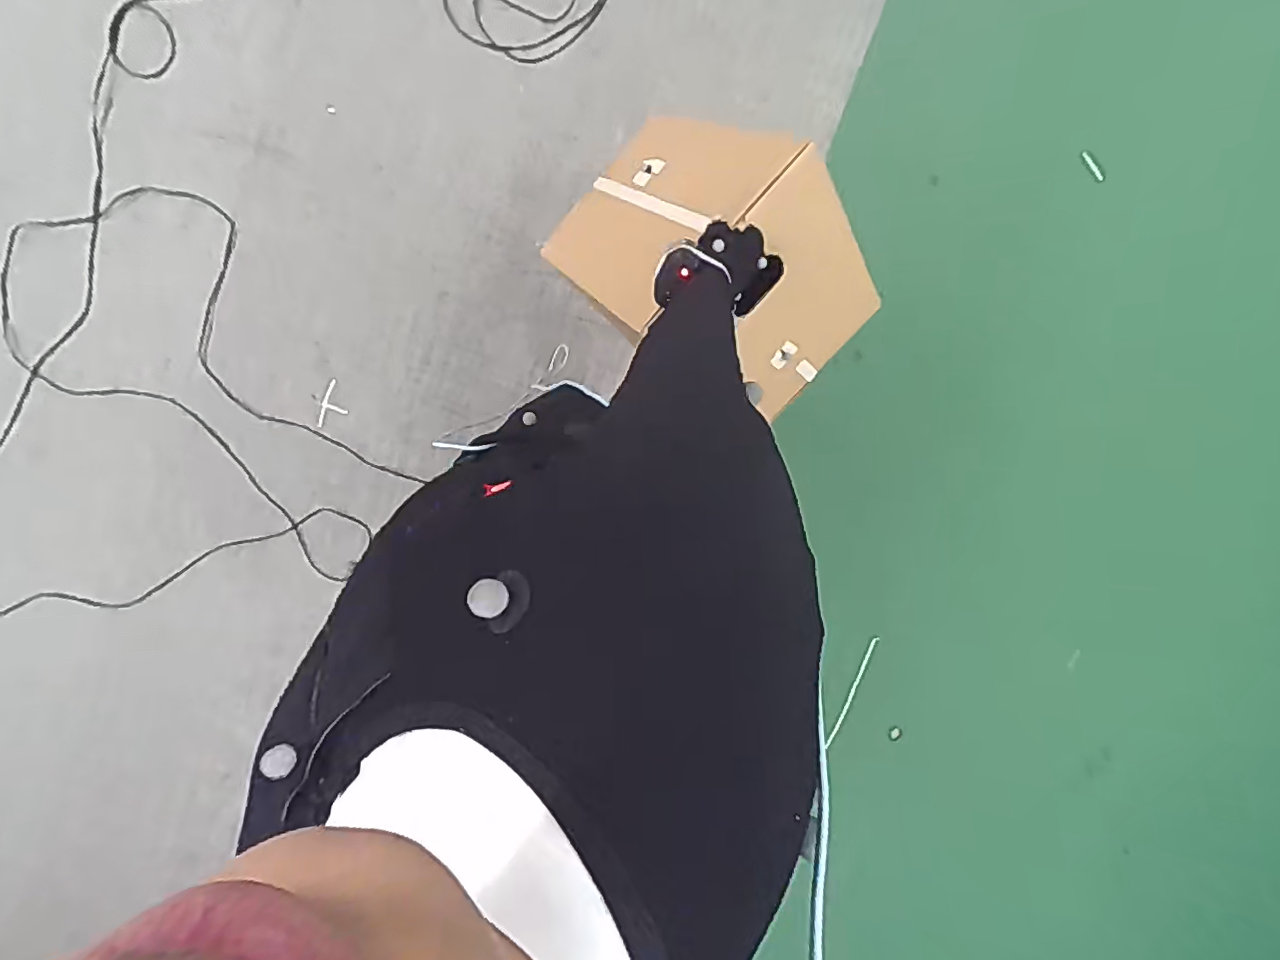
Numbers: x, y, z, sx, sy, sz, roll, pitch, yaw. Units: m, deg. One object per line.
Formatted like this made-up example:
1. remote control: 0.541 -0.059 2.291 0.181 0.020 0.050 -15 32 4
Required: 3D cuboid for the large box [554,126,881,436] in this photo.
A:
1. large box: 0.120 -0.344 0.930 0.320 0.408 0.320 -46 134 7
